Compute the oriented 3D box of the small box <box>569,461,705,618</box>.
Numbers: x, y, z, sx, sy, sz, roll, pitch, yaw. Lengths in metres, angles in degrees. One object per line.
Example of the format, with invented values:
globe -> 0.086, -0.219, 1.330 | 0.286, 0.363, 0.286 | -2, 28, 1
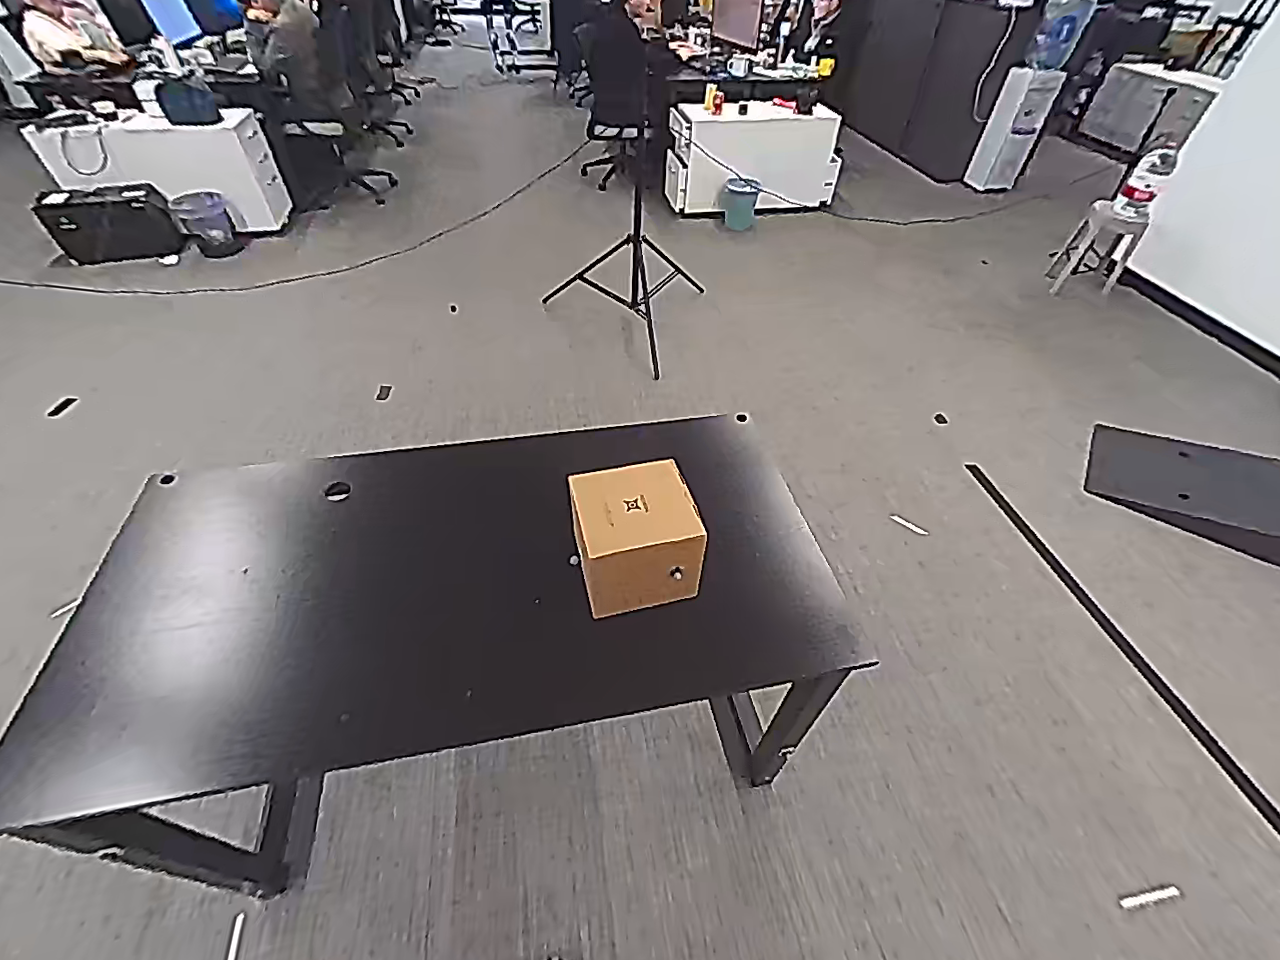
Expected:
small box -> -0.010, 0.097, 0.872 | 0.179, 0.176, 0.168 | -12, 47, -11
